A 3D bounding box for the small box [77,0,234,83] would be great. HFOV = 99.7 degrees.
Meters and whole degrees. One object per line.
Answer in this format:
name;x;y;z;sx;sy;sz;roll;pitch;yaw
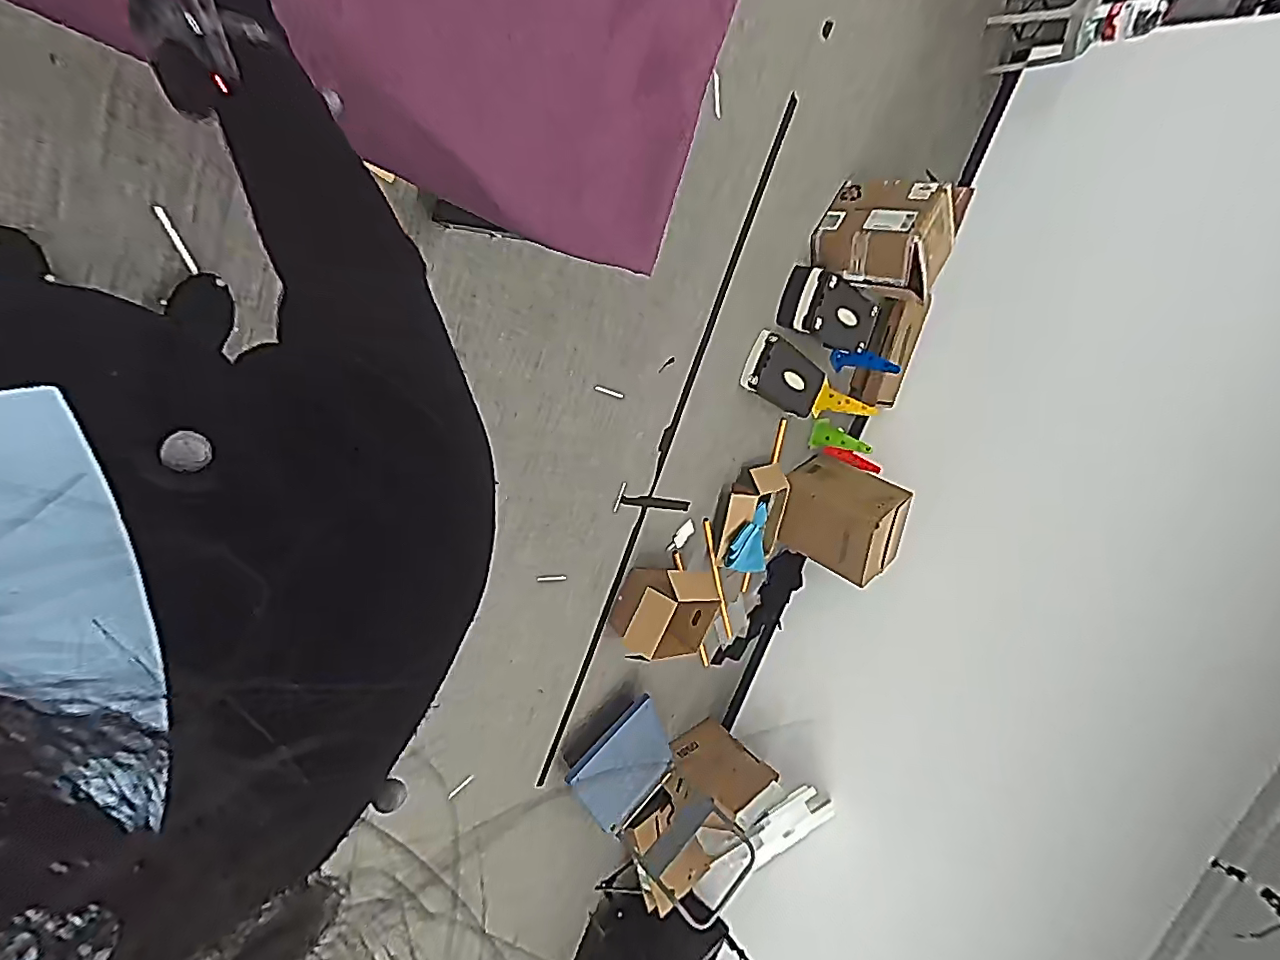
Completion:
small box;-0.797;-0.796;0.892;0.168;0.176;0.179;9;105;-51
